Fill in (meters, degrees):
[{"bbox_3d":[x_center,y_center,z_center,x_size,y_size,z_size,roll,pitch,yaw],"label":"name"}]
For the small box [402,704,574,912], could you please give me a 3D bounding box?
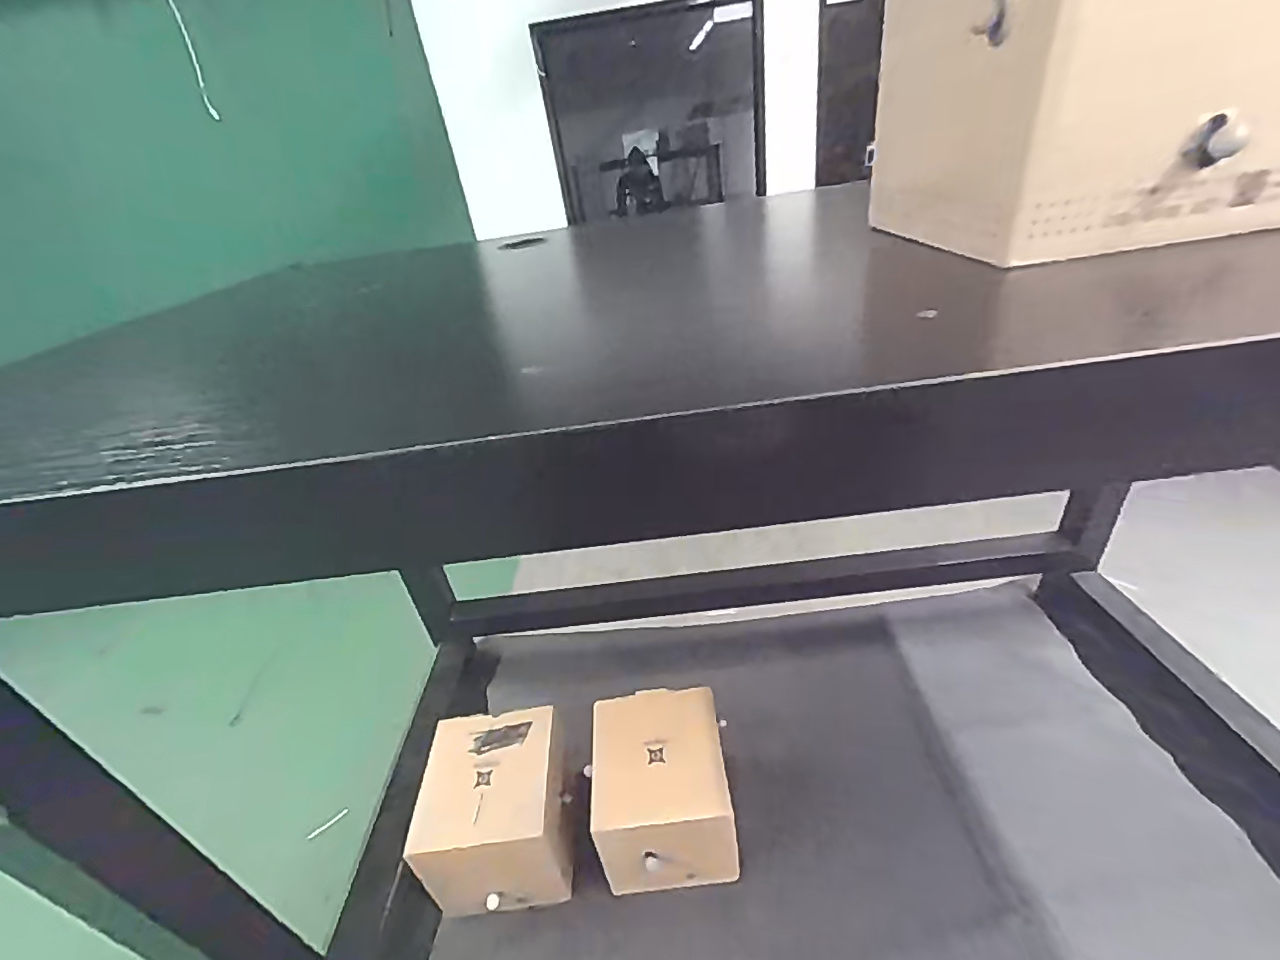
[{"bbox_3d":[-0.188,0.438,0.730,0.168,0.176,0.179,-9,31,2],"label":"small box"}]
